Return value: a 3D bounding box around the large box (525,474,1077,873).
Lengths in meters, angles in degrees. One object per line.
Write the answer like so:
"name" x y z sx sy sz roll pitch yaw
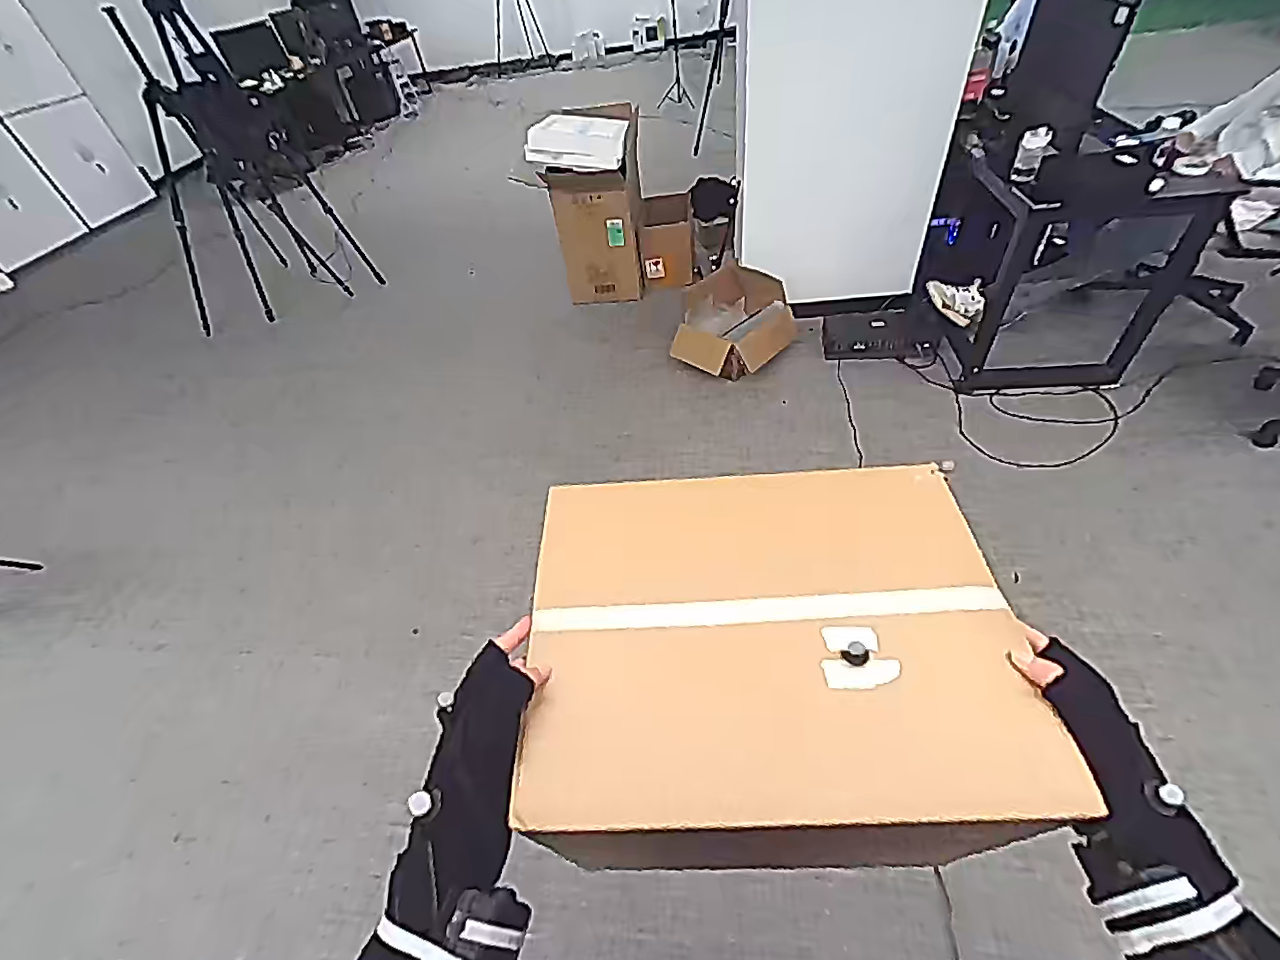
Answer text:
"large box" 0.119 0.219 0.595 0.408 0.320 0.320 -4 49 3
